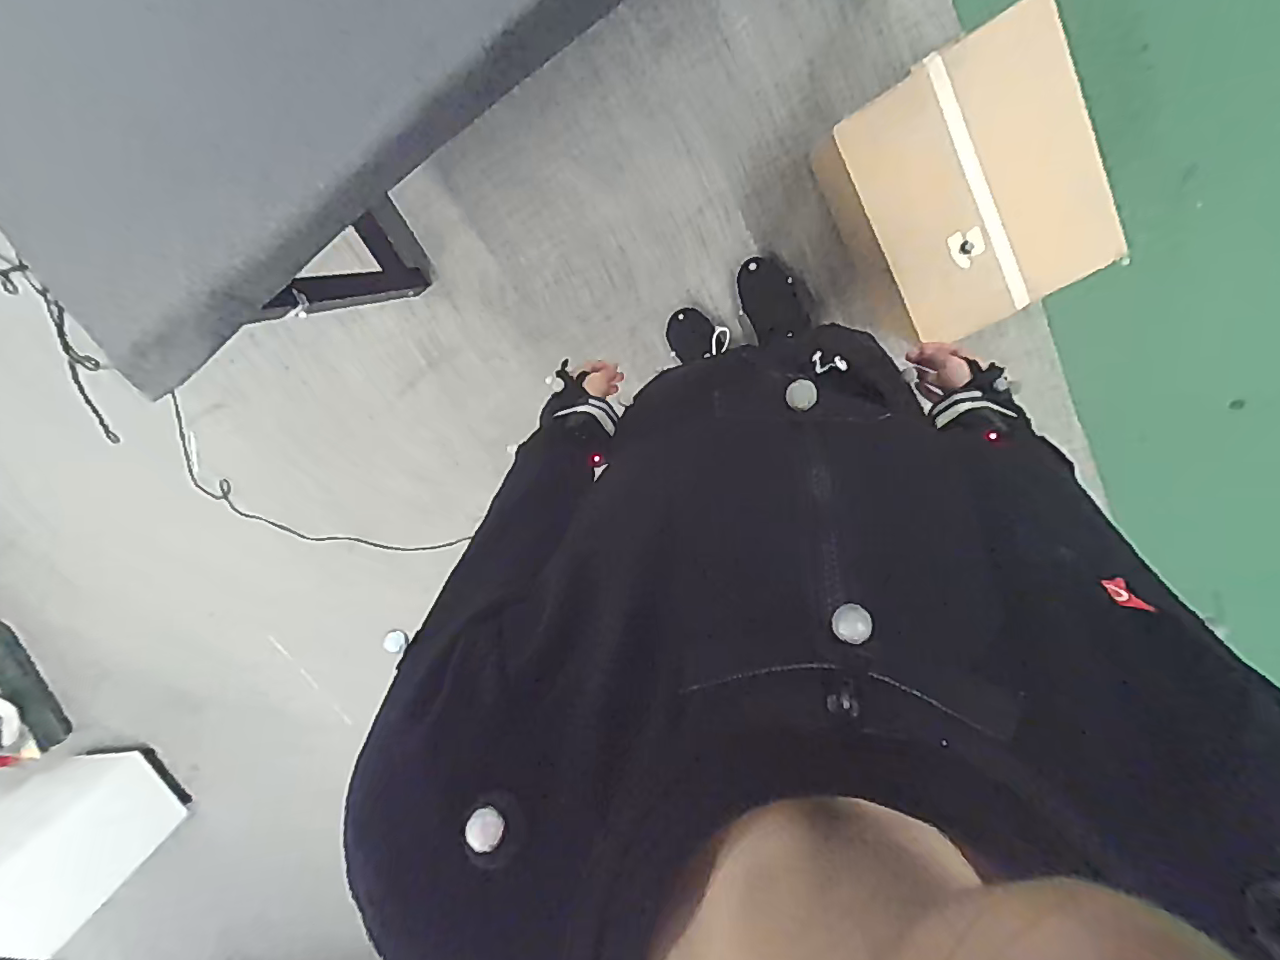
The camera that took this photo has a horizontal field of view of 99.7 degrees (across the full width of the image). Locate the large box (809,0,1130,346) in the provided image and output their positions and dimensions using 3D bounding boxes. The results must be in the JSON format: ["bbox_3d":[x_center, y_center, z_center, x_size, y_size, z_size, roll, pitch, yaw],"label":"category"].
[{"bbox_3d":[0.551,-0.513,0.972,0.320,0.320,0.408,-27,106,20],"label":"large box"}]
